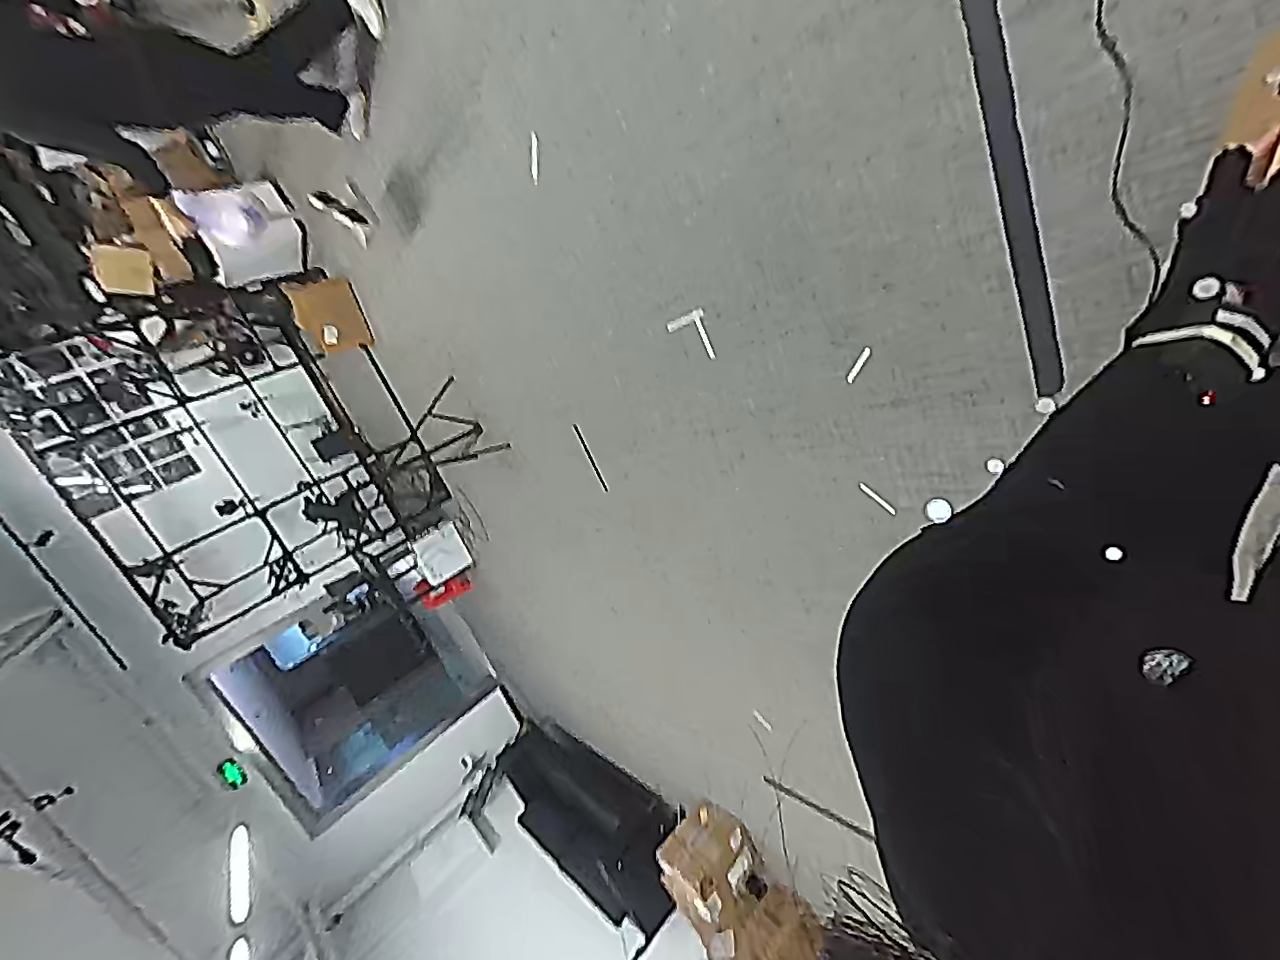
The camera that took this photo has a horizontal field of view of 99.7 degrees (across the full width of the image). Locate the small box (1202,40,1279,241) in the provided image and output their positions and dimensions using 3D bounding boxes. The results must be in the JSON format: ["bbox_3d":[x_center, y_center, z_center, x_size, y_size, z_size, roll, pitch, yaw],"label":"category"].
[{"bbox_3d":[0.622,-0.305,0.439,0.168,0.176,0.179,16,107,26],"label":"small box"}]
